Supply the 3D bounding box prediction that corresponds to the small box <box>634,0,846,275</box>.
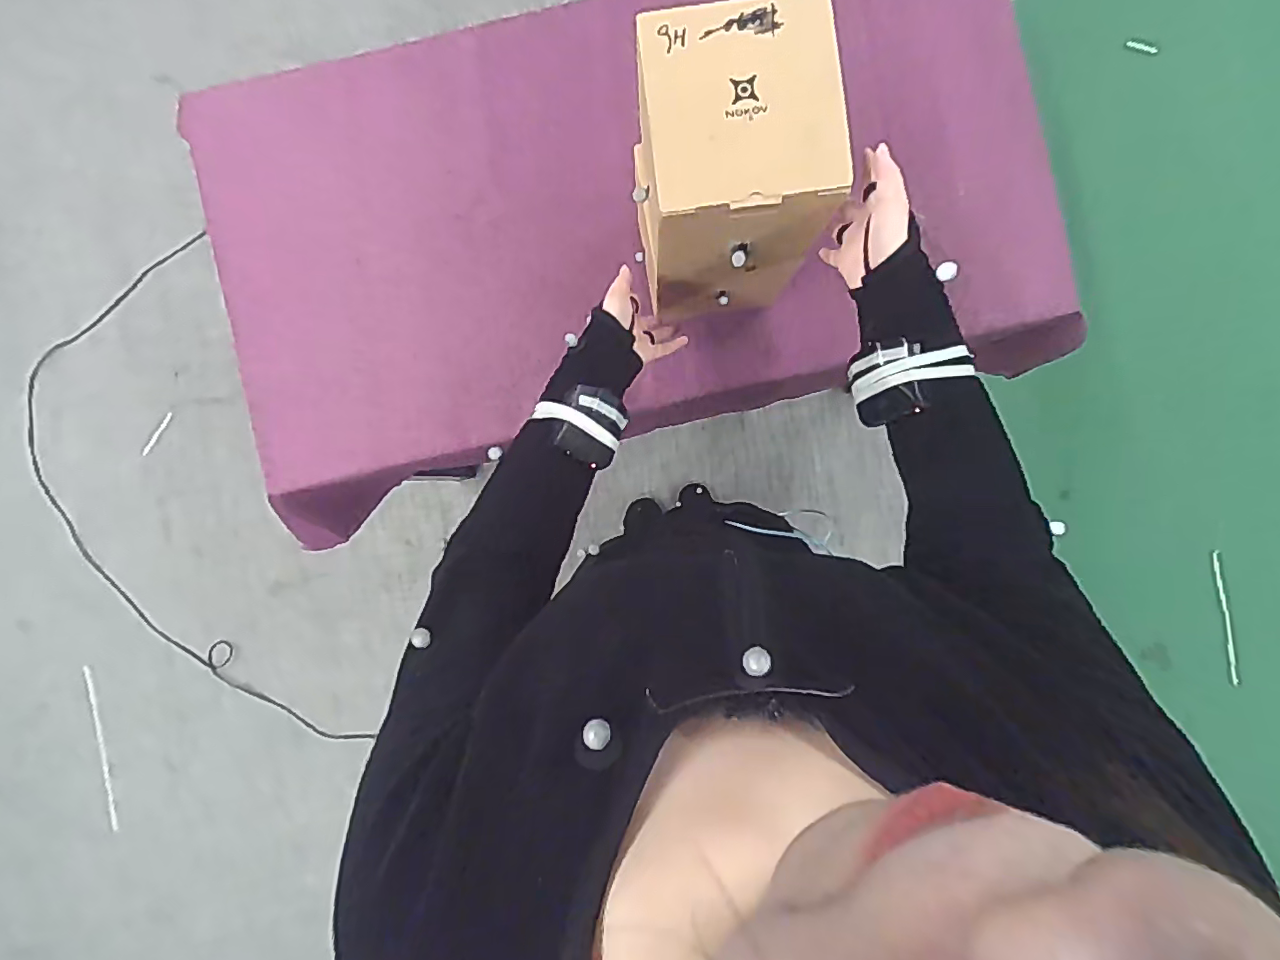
[{"bbox_3d":[0.088,-0.319,0.537,0.168,0.176,0.179,-7,90,2],"label":"small box"}]
